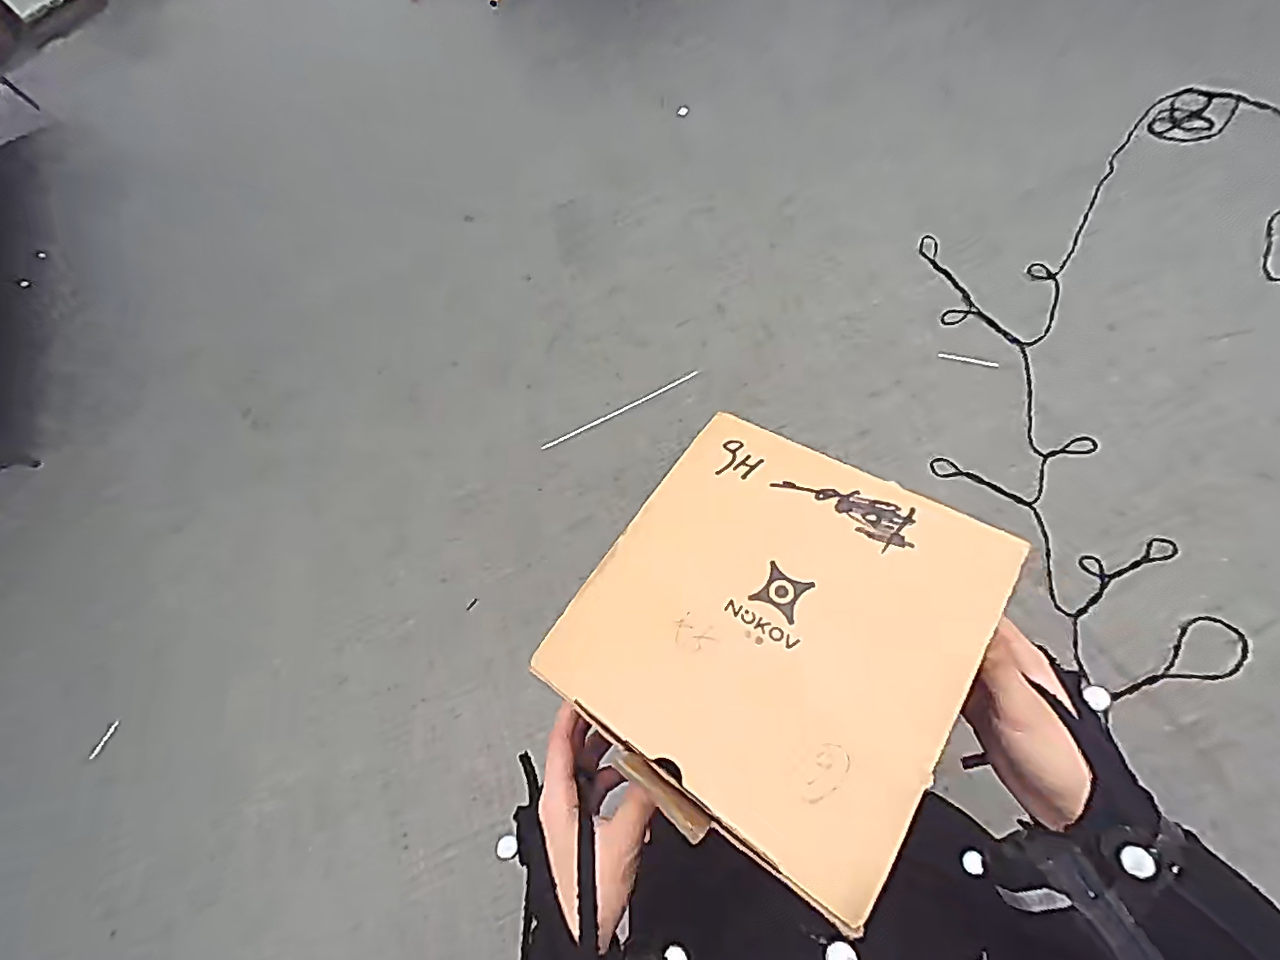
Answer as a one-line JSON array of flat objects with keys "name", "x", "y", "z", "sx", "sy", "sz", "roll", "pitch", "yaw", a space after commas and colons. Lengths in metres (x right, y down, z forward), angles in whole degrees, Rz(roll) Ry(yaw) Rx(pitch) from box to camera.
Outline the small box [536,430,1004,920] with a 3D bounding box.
[{"name": "small box", "x": 0.075, "y": 0.108, "z": 0.328, "sx": 0.168, "sy": 0.176, "sz": 0.179, "roll": 28, "pitch": 68, "yaw": 26}]
